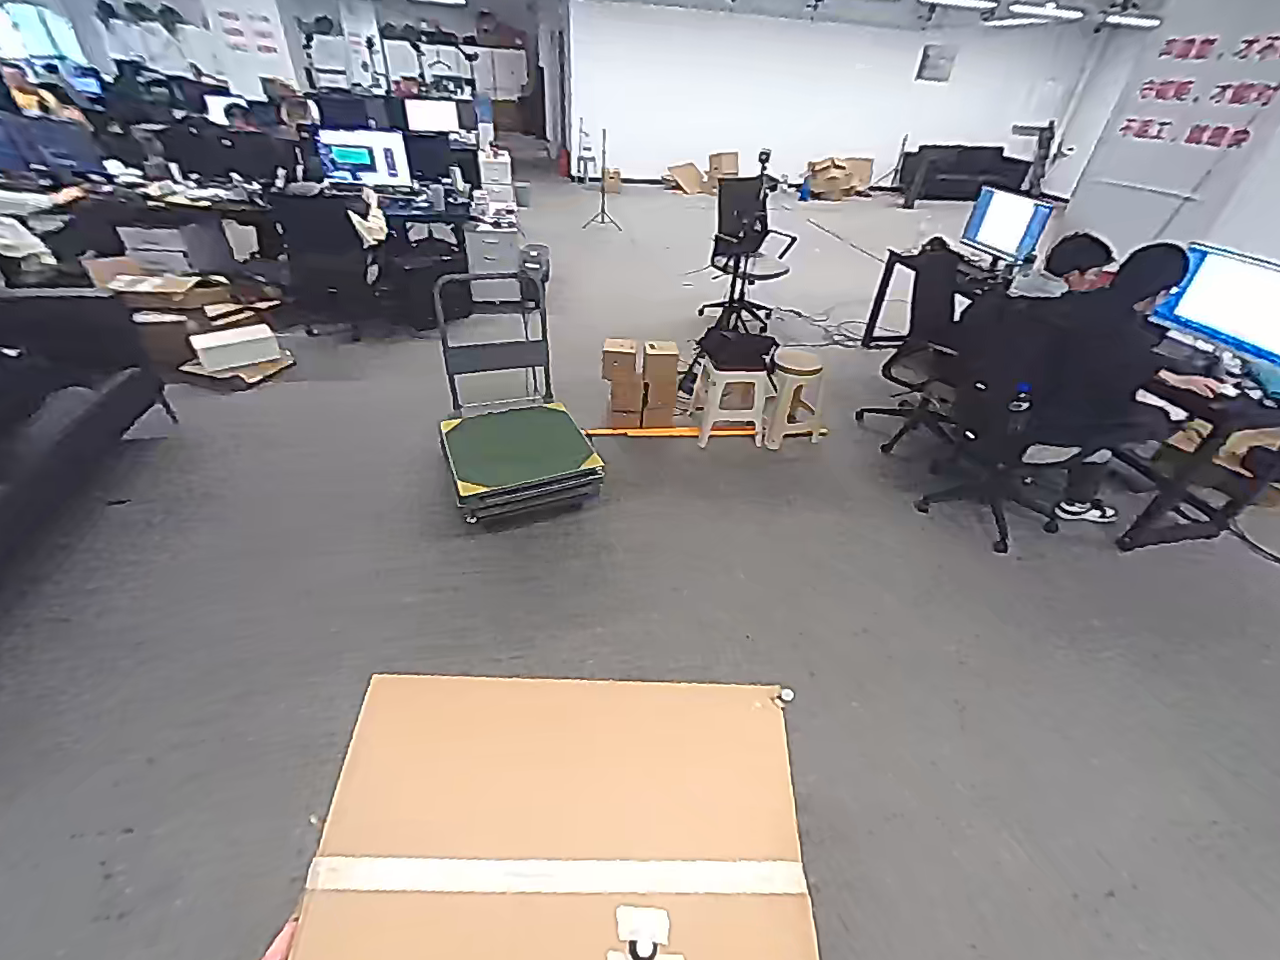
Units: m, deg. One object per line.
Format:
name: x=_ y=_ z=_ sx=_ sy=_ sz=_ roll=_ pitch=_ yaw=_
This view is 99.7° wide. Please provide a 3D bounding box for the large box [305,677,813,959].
large box: x=-0.069 y=0.414 z=0.577 sx=0.408 sy=0.320 sz=0.320 roll=2 pitch=55 yaw=-2
